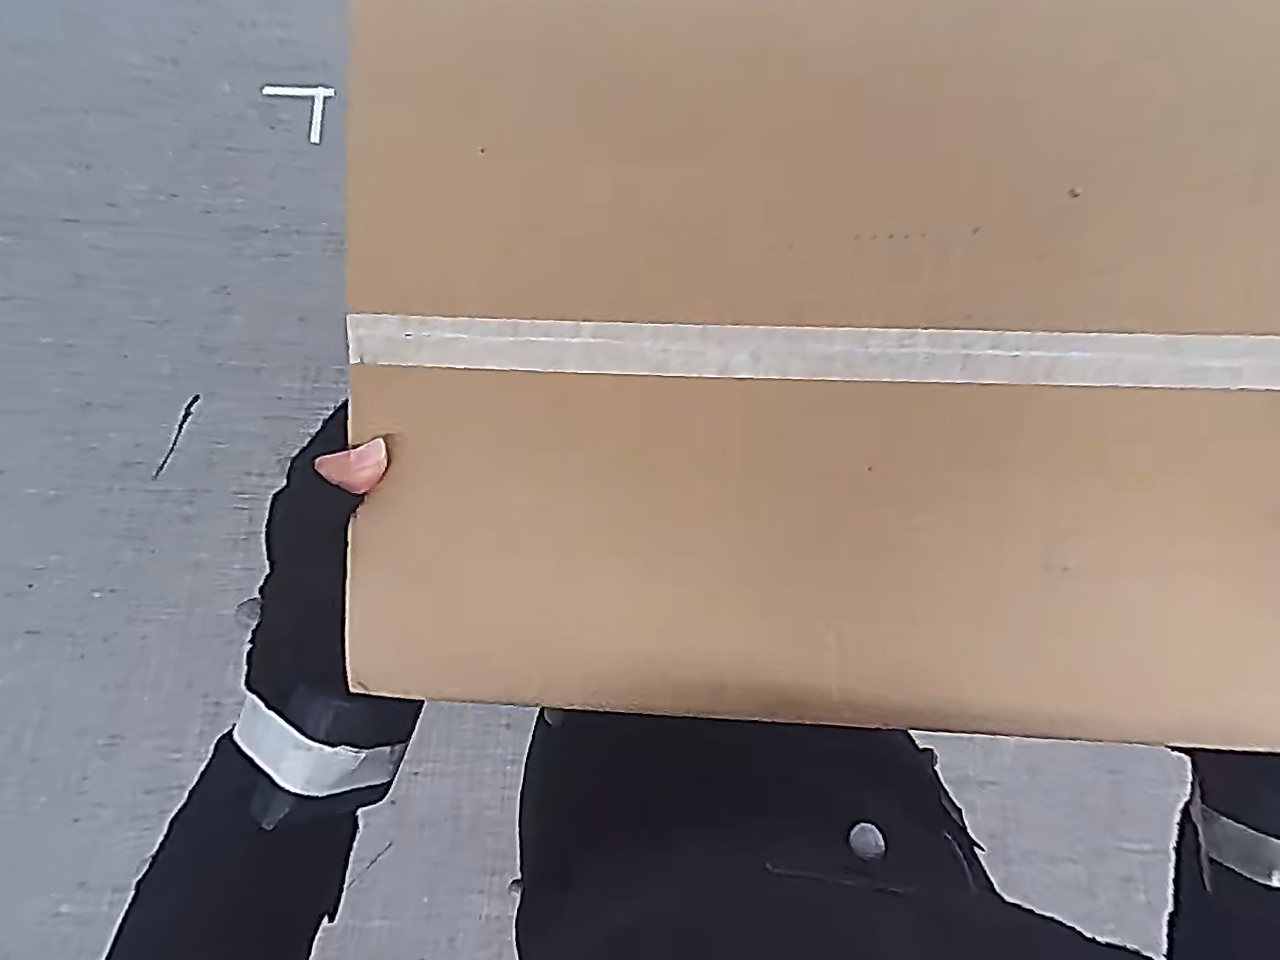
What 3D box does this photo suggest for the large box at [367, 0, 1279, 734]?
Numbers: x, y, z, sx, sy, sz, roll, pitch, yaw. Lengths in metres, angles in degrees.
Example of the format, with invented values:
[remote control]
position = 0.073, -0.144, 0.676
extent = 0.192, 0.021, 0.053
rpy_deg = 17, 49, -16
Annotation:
[large box]
position = 0.085, -0.055, 0.383
extent = 0.408, 0.320, 0.320
rpy_deg = 2, 93, 3
